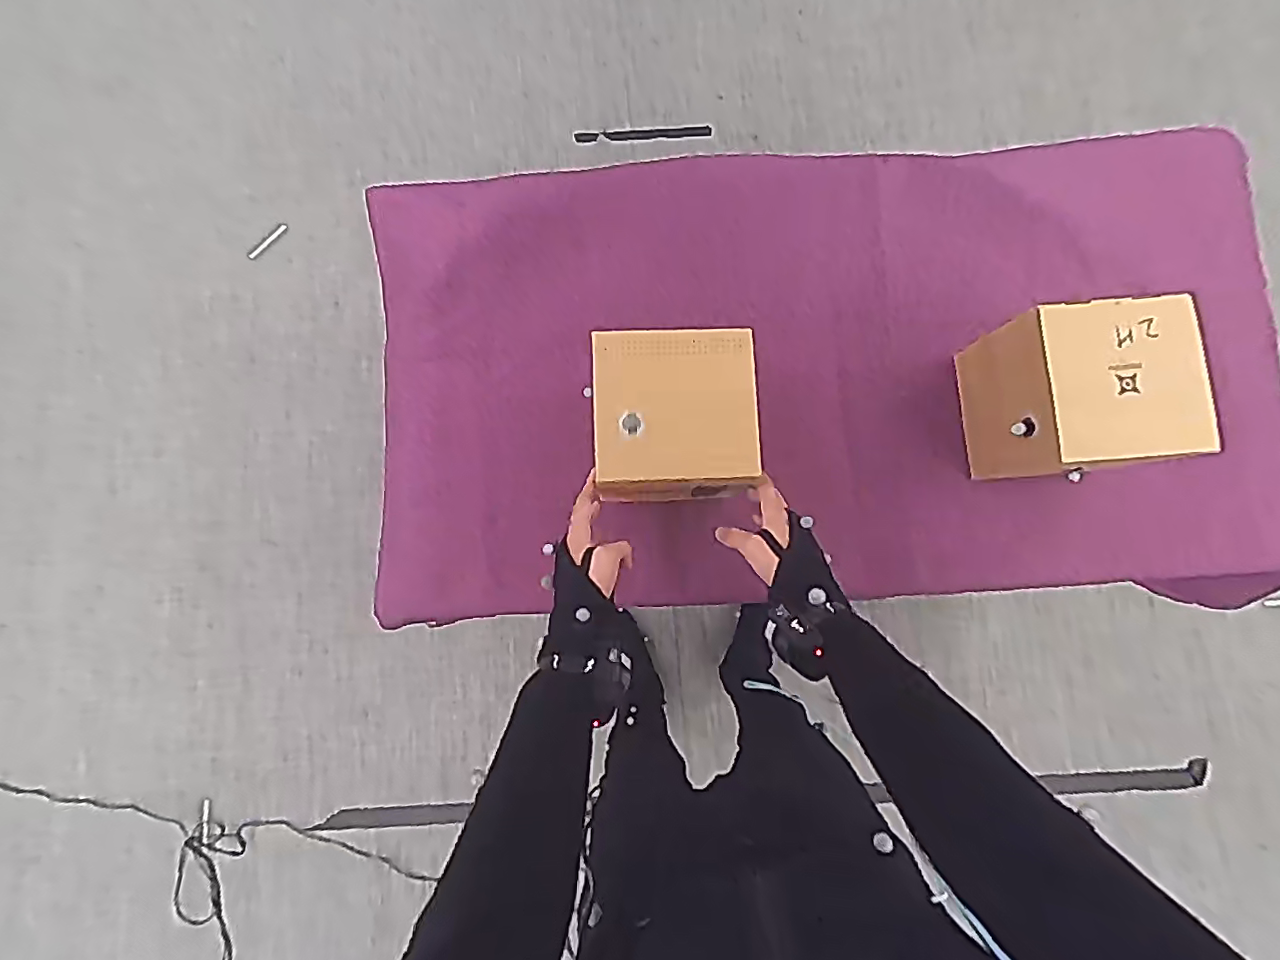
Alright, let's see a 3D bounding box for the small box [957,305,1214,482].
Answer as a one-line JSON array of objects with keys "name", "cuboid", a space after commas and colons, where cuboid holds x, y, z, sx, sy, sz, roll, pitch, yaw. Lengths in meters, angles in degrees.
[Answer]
[{"name": "small box", "cuboid": [0.518, -0.090, 0.656, 0.168, 0.176, 0.179, -4, 83, 1]}]
